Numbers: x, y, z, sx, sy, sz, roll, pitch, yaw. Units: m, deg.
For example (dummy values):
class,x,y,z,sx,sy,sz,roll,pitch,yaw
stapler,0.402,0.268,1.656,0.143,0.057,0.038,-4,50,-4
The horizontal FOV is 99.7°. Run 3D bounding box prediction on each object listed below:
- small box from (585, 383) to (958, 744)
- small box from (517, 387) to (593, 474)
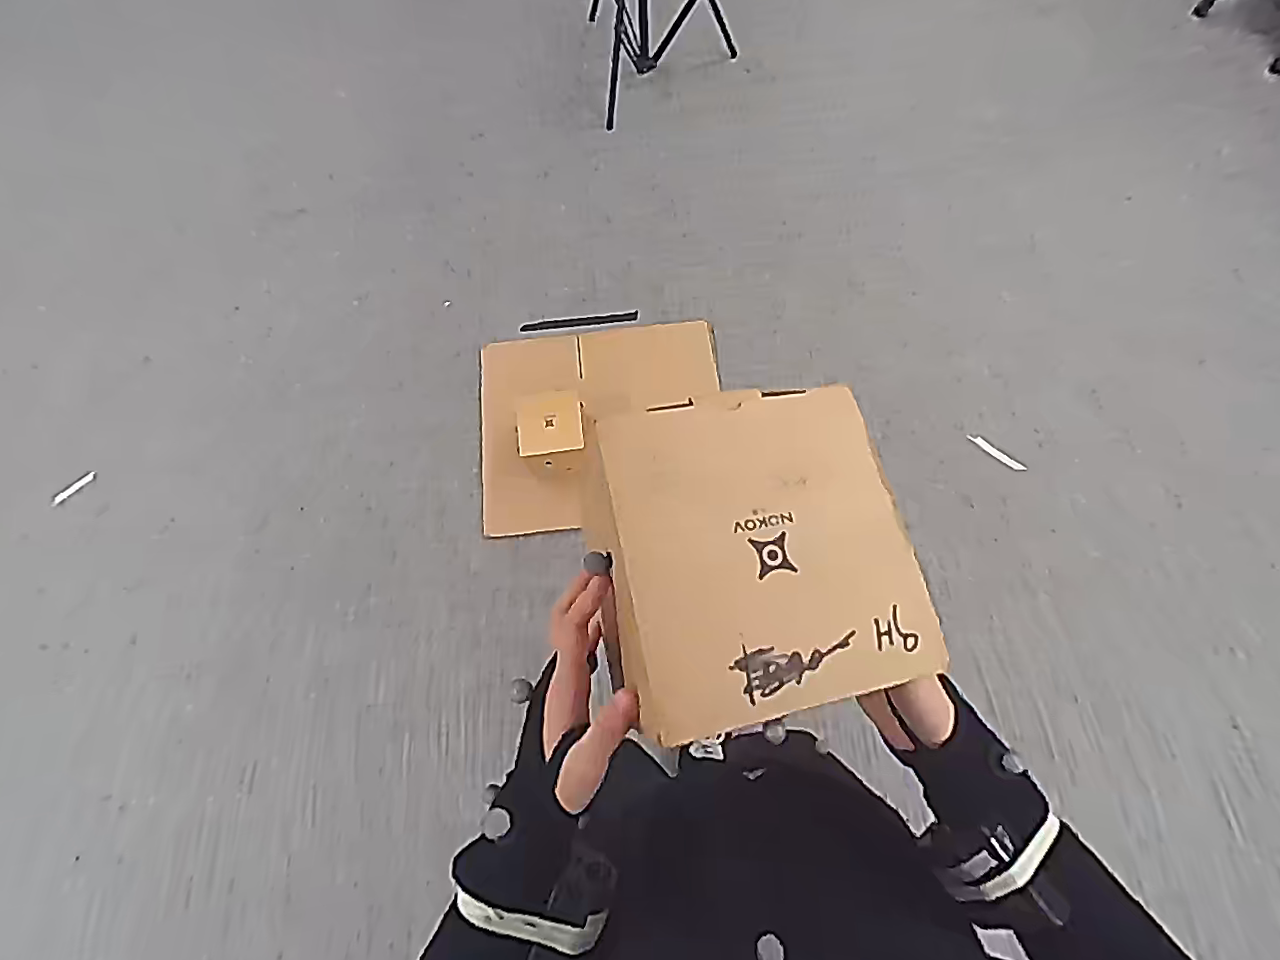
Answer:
class,x,y,z,sx,sy,sz,roll,pitch,yaw
small box,0.059,0.059,0.367,0.168,0.176,0.179,-10,73,-12
small box,-0.224,-0.124,1.449,0.168,0.176,0.179,-8,71,-1
